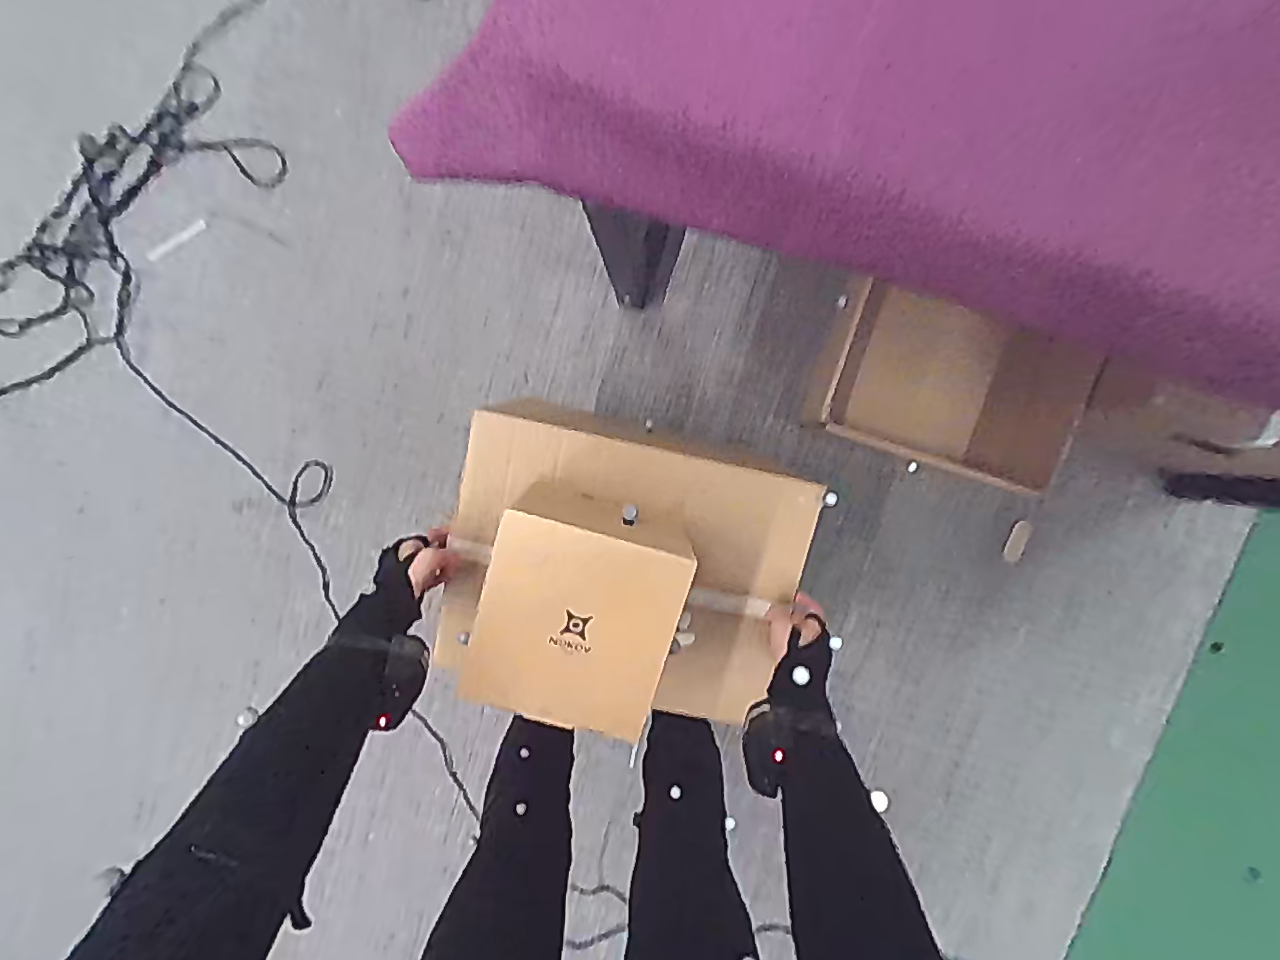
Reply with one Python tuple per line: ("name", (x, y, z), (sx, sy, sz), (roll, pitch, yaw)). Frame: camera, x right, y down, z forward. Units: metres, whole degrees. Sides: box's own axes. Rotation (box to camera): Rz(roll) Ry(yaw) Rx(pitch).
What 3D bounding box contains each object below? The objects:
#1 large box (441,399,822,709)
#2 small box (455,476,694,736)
("large box", (-0.022, 0.074, 0.772), (0.408, 0.320, 0.320), (12, 101, -4))
("small box", (-0.059, 0.106, 0.529), (0.168, 0.176, 0.179), (16, 100, -4))
